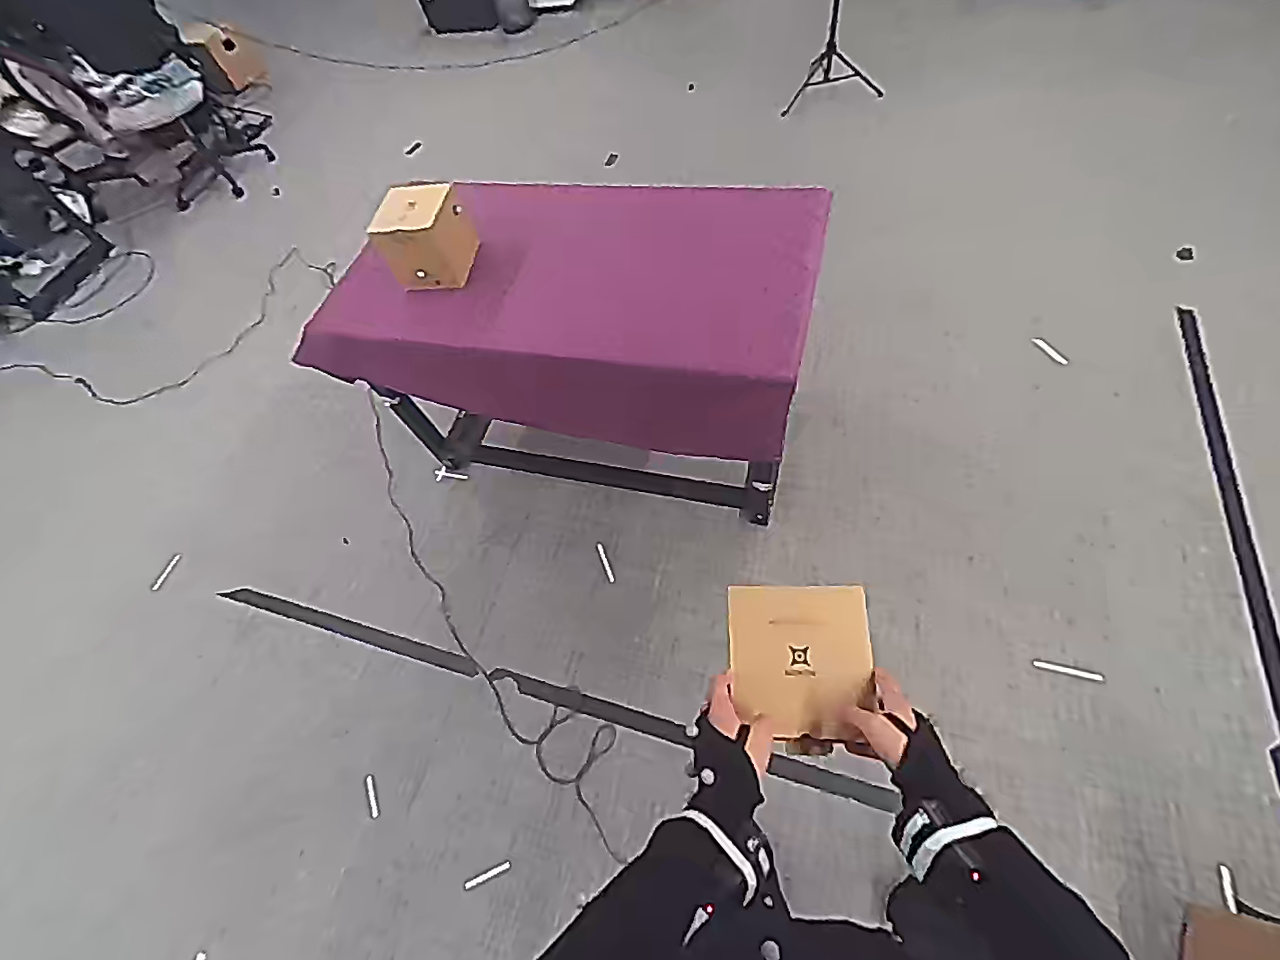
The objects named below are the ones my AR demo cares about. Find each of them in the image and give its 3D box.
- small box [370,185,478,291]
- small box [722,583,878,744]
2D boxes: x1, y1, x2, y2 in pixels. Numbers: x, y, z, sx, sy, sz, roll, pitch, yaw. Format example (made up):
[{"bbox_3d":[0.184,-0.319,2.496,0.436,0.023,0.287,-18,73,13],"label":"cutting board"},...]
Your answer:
[{"bbox_3d":[-0.520,-0.592,1.333,0.168,0.176,0.179,1,61,11],"label":"small box"},{"bbox_3d":[0.193,0.236,0.700,0.168,0.176,0.179,-2,68,8],"label":"small box"}]
